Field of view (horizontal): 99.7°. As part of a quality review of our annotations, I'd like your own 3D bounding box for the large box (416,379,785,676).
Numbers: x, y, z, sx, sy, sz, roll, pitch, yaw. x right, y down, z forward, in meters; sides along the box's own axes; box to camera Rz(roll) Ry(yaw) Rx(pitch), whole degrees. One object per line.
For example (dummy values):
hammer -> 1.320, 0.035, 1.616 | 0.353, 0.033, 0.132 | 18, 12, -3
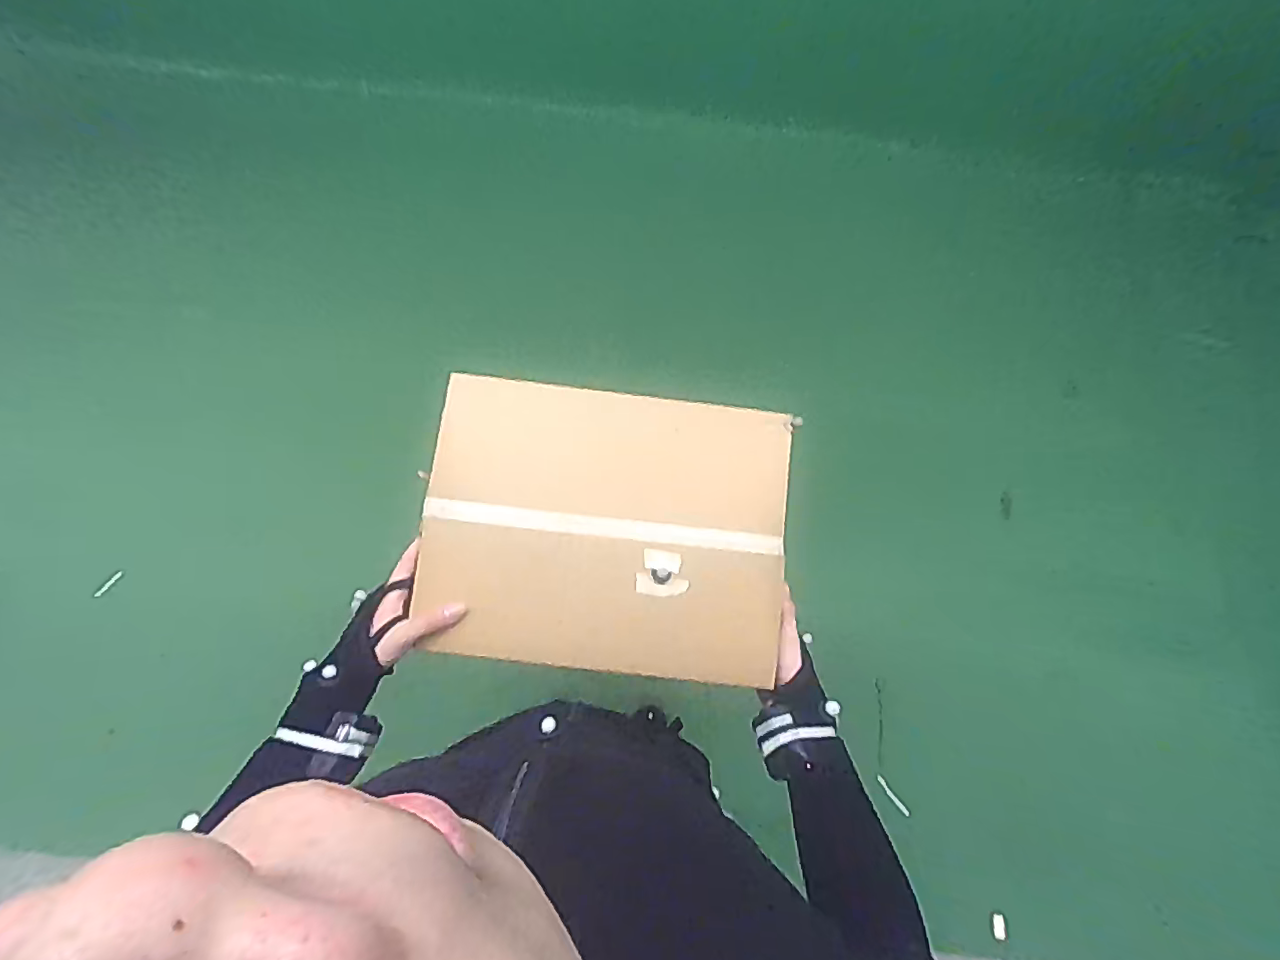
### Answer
large box -> -0.045, 0.075, 0.766 | 0.408, 0.320, 0.320 | 7, 81, -2
